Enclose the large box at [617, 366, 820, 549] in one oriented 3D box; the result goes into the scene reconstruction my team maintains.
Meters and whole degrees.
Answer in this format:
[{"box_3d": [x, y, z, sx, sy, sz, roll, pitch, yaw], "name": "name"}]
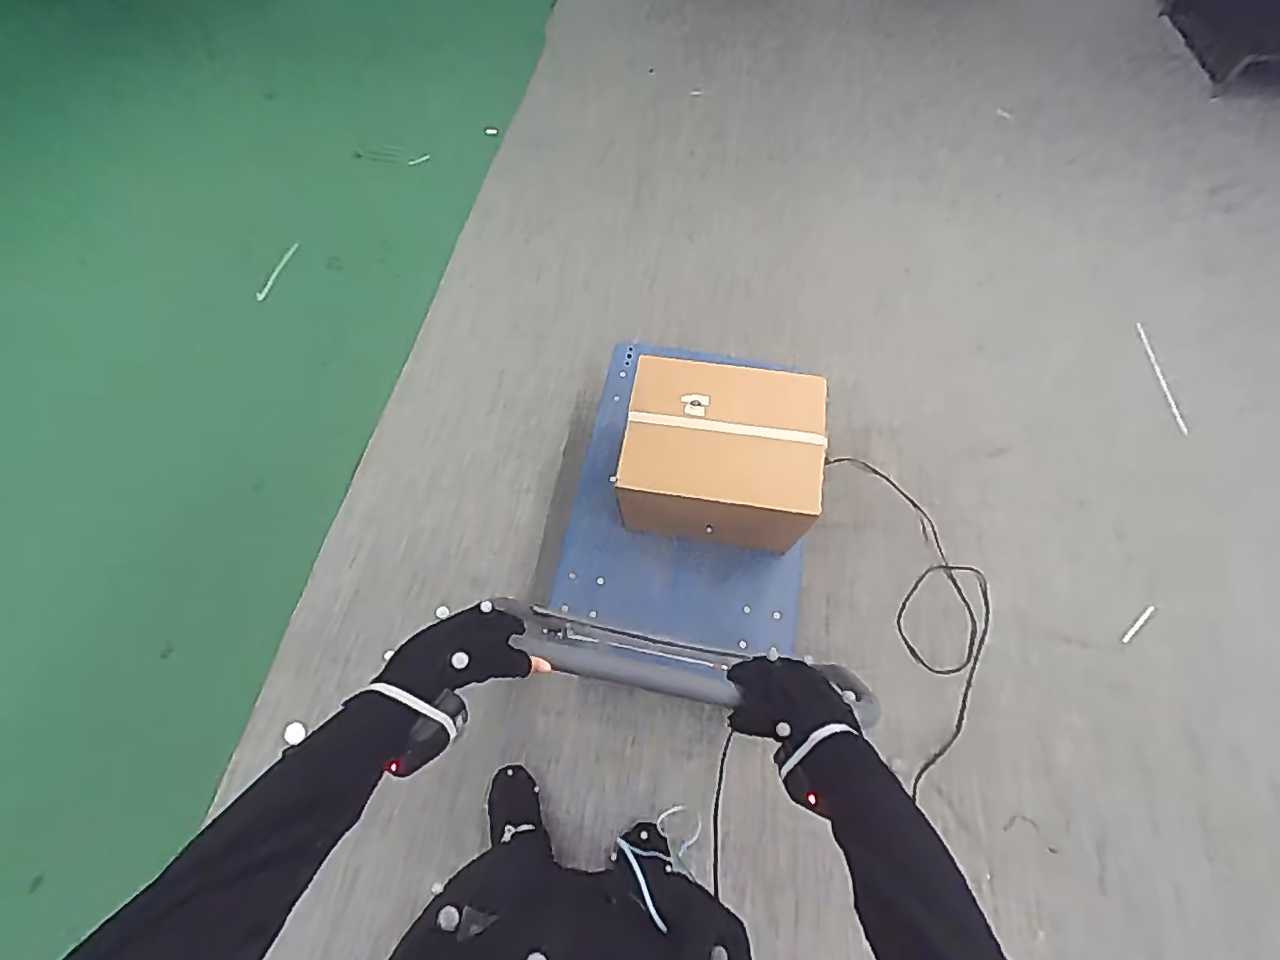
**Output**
[{"box_3d": [0.180, -0.039, 1.259, 0.408, 0.320, 0.320, 7, 69, 6], "name": "large box"}]
